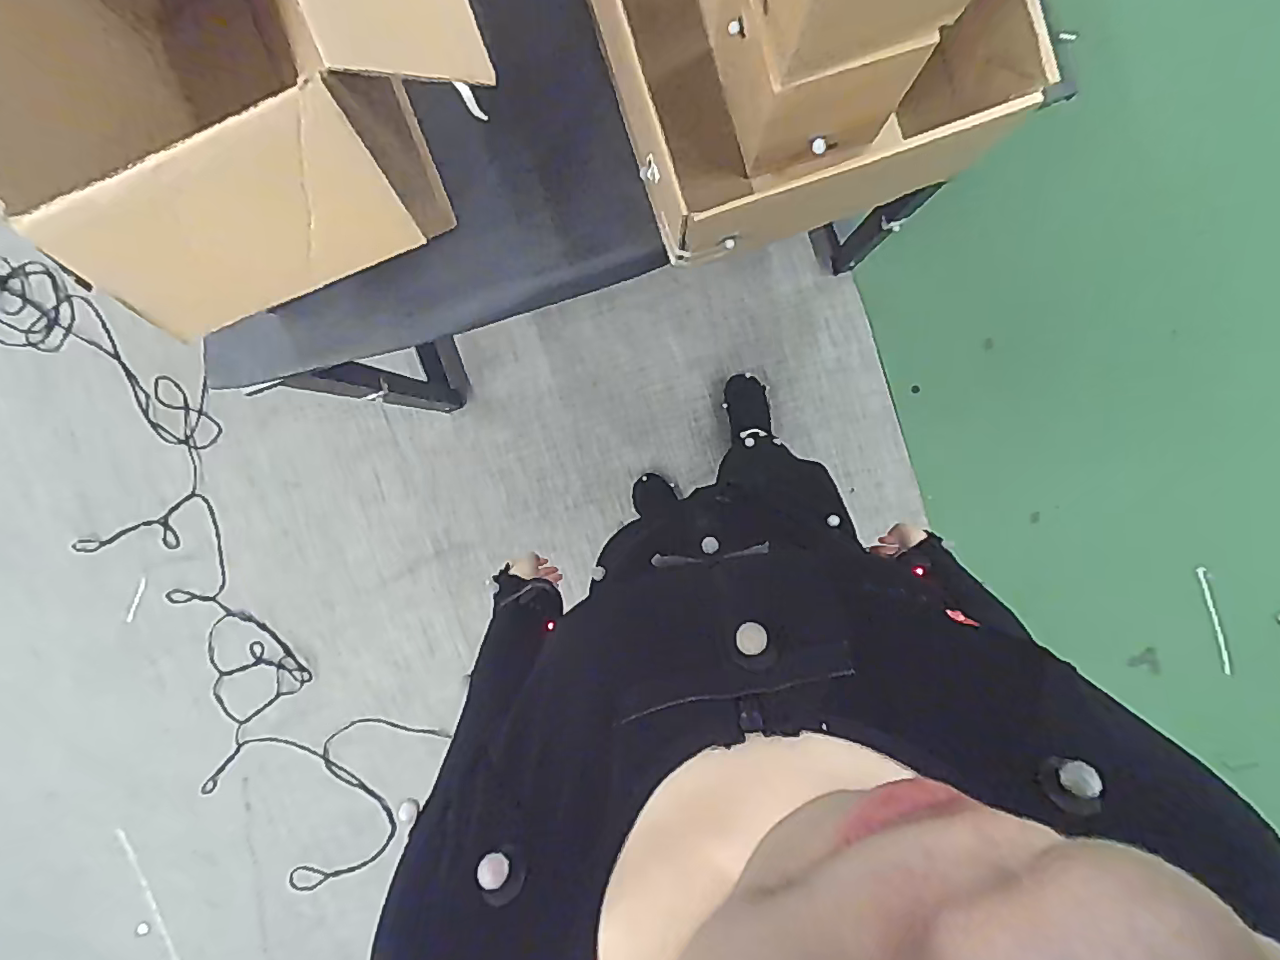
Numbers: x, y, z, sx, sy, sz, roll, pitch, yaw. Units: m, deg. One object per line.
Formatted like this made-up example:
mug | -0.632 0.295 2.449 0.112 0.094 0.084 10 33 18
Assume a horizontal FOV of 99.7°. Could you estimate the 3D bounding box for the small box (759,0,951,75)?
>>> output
small box | 0.186 -0.482 0.437 0.179 0.176 0.168 -18 93 3
